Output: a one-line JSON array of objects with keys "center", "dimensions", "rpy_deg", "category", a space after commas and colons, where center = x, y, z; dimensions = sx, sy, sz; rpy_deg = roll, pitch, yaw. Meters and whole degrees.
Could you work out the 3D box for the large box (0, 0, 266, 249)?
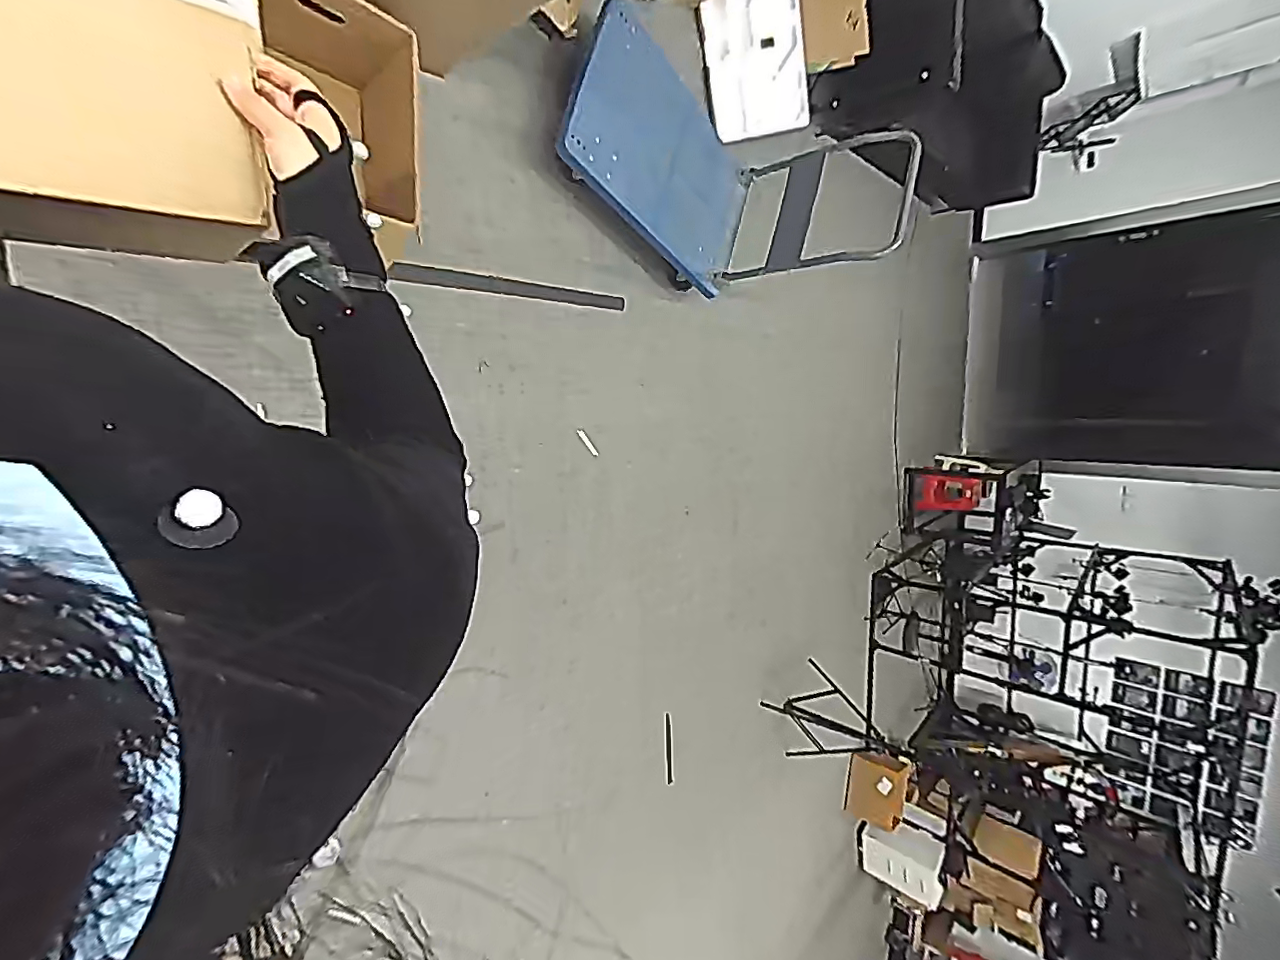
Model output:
[{"center": [-0.561, -0.372, 0.405], "dimensions": [0.408, 0.320, 0.320], "rpy_deg": [-10, 107, -40], "category": "large box"}]
